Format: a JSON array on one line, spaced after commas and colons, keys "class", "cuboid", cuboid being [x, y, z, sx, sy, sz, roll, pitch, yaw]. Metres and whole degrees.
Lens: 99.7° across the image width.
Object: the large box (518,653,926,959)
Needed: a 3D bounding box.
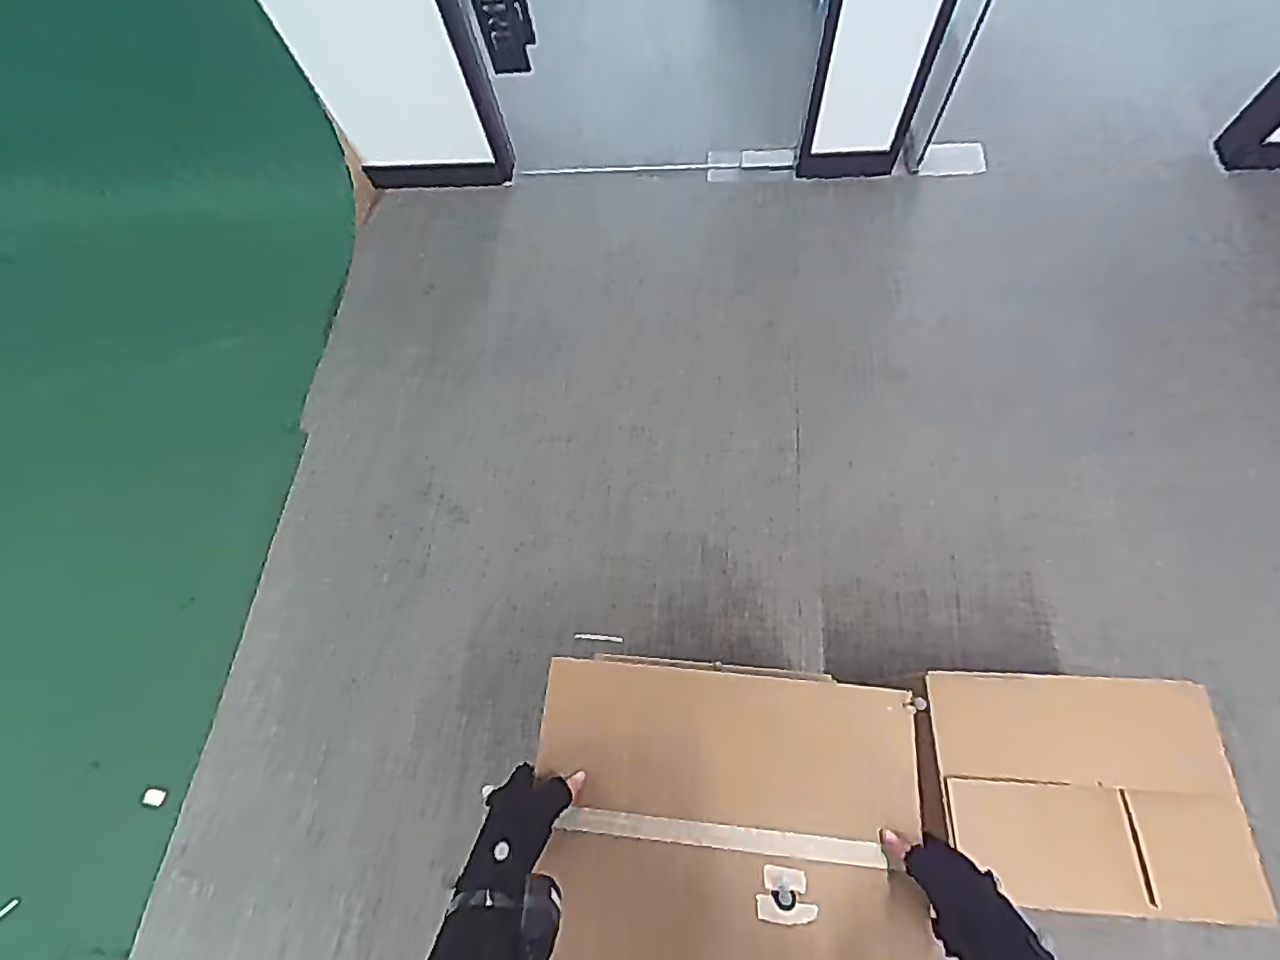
[{"class": "large box", "cuboid": [0.094, 0.410, 0.707, 0.408, 0.320, 0.320, 3, 70, 6]}]
